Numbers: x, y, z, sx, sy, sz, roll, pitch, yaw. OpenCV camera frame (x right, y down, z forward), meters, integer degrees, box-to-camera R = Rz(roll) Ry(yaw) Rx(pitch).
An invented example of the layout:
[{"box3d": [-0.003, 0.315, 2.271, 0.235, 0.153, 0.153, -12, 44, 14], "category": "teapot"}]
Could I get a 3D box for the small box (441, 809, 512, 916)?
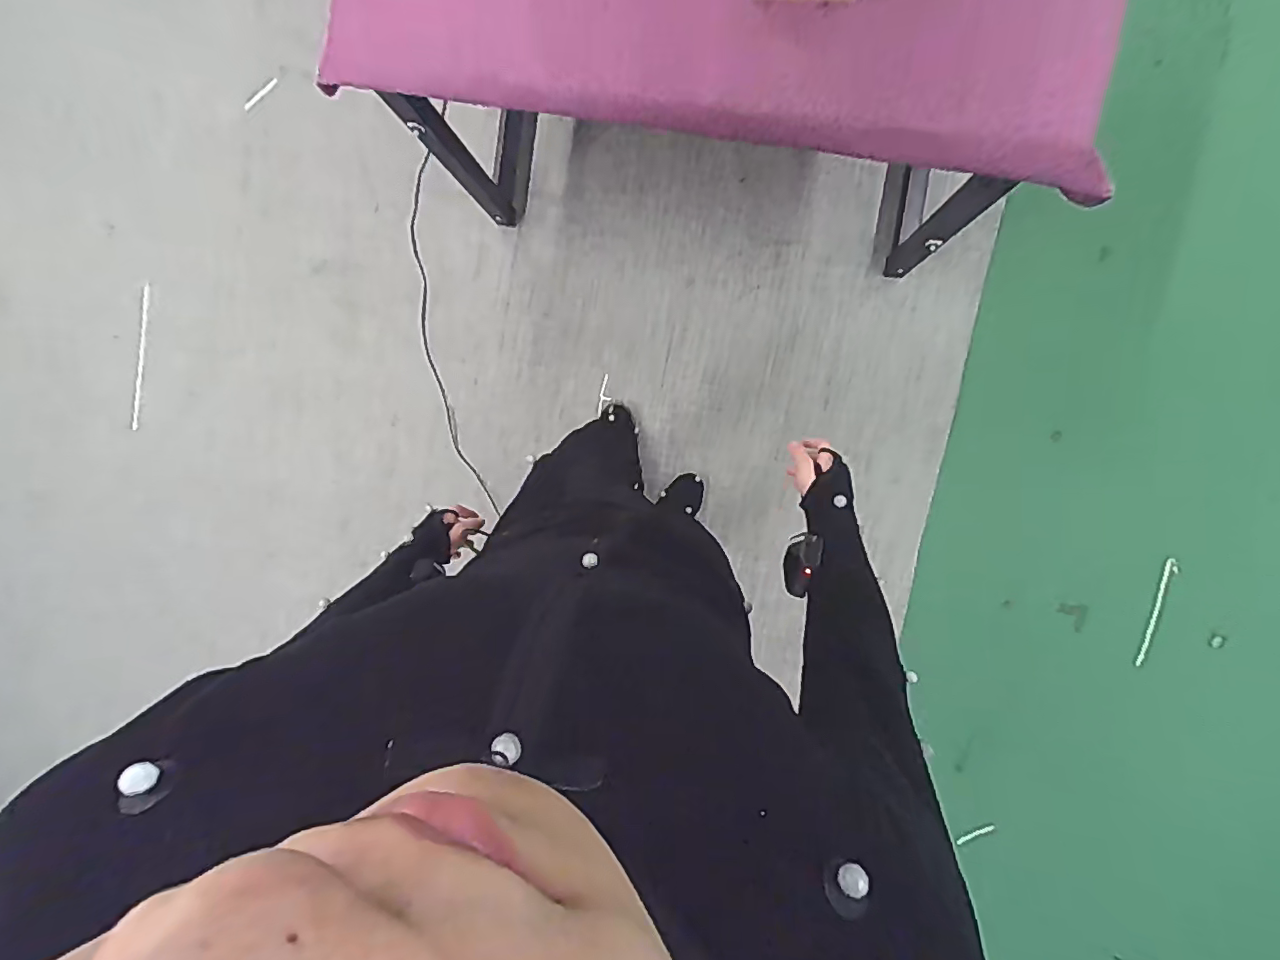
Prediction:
[{"box3d": [-0.499, 1.137, 1.616, 0.168, 0.176, 0.179, 15, 96, 3], "category": "small box"}]
